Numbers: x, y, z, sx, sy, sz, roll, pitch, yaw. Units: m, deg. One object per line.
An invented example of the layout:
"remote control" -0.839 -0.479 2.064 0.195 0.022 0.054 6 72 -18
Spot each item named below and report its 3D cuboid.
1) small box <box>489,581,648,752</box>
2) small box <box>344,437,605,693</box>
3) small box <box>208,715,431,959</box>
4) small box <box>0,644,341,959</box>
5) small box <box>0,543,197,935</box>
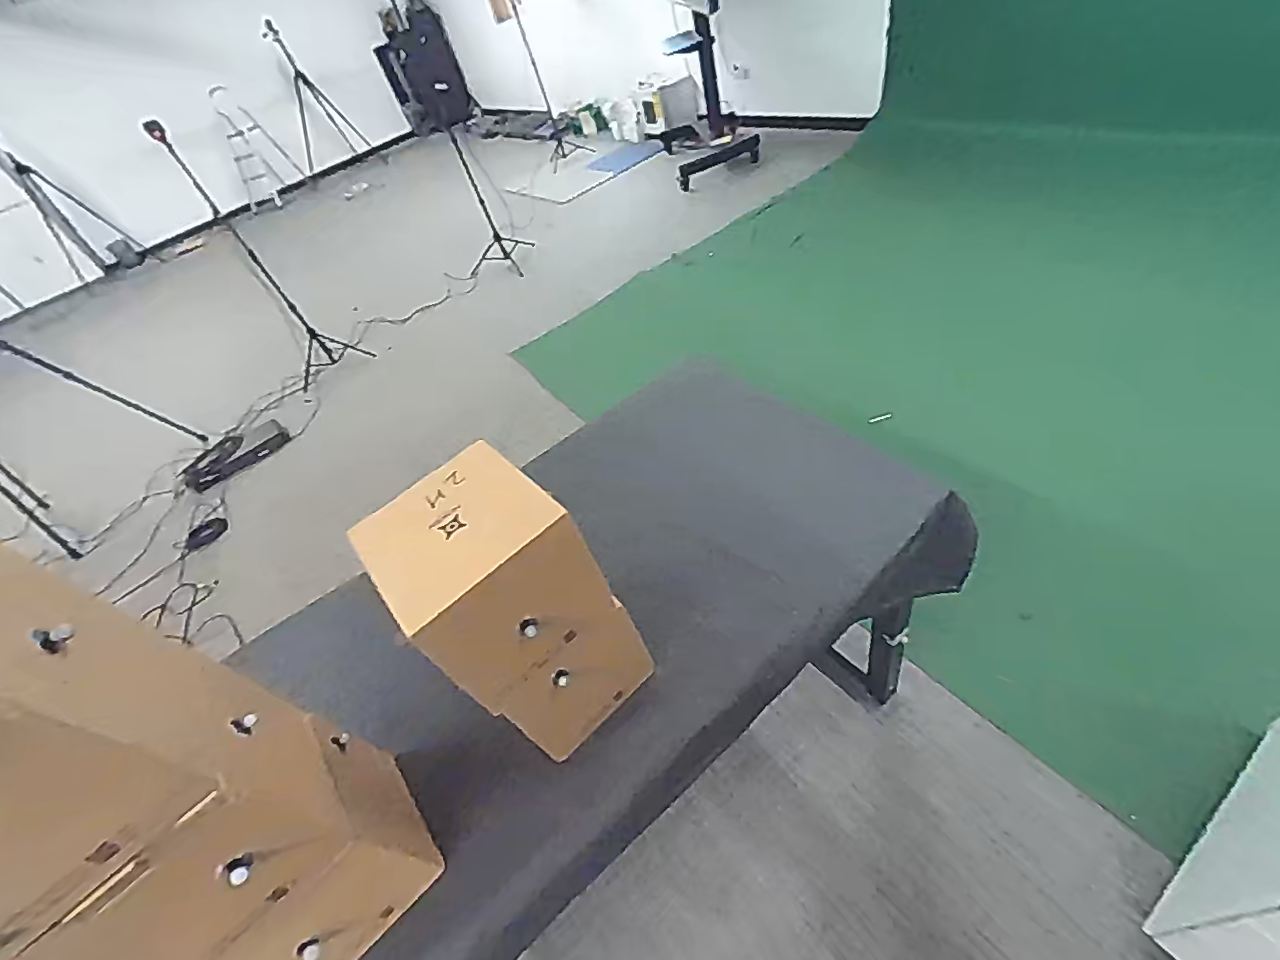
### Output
"small box" -0.117 0.200 0.679 0.168 0.176 0.179 -39 47 -19
"small box" -0.160 0.092 0.561 0.168 0.176 0.179 -38 47 -20
"small box" -0.356 0.396 0.573 0.168 0.176 0.179 -39 47 -21
"small box" -0.394 0.283 0.459 0.168 0.176 0.179 -40 46 -22
"small box" -0.434 0.170 0.347 0.168 0.176 0.179 -41 47 -23
